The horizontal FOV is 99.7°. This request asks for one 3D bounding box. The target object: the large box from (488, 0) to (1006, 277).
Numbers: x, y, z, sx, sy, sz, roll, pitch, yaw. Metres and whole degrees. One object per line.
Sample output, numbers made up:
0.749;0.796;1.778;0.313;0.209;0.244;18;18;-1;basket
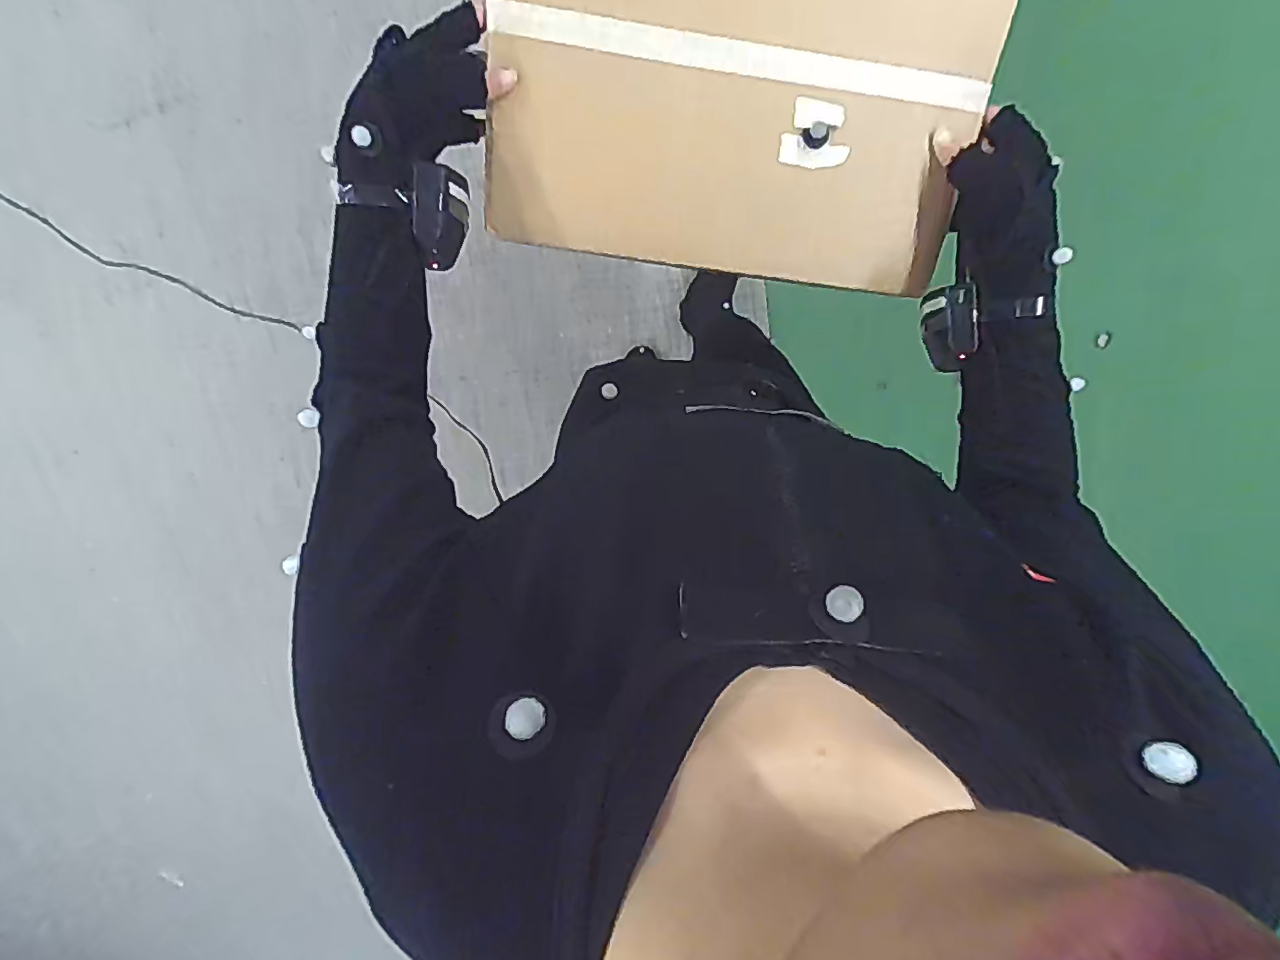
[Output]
0.074;-0.399;0.565;0.408;0.320;0.320;6;112;-6;large box
